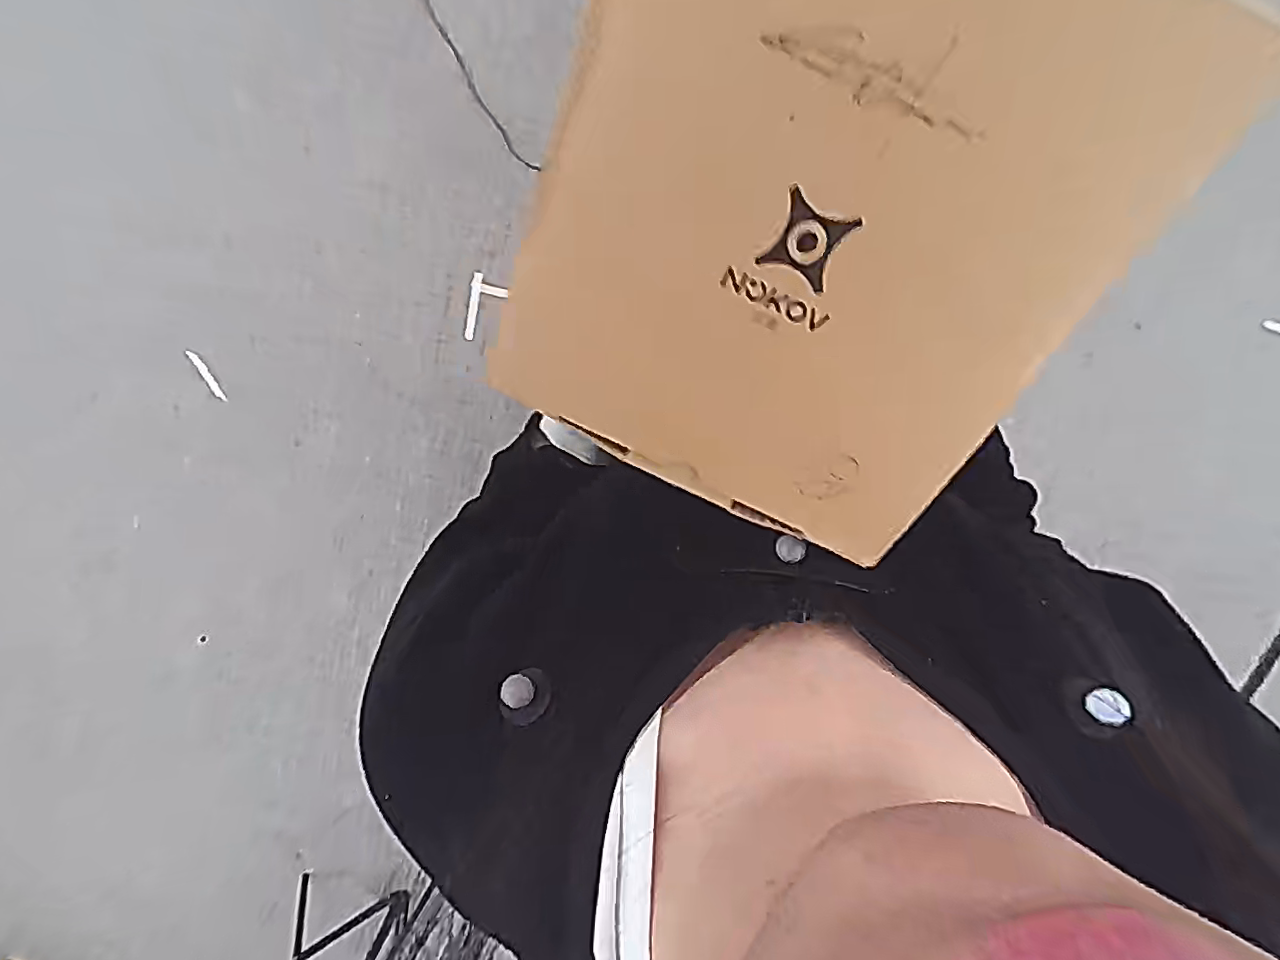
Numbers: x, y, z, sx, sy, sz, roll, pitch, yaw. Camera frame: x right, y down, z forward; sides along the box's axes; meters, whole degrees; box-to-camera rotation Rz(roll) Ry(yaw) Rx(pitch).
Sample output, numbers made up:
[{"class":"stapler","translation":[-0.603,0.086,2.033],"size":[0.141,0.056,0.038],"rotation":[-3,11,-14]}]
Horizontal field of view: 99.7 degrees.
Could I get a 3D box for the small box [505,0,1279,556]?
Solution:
[{"class":"small box","translation":[0.067,-0.106,0.237],"size":[0.168,0.176,0.179],"rotation":[24,119,-2]}]
